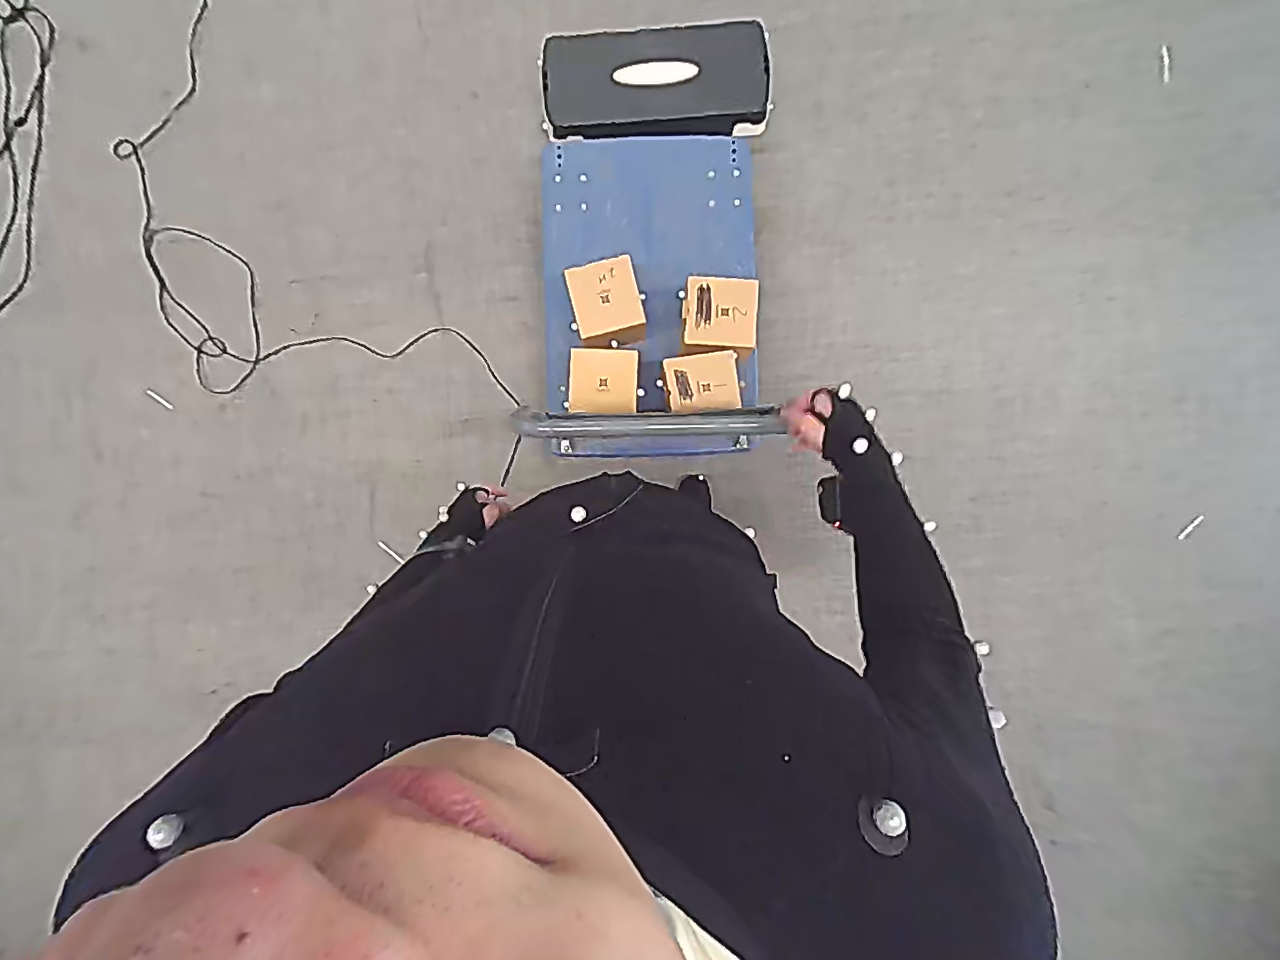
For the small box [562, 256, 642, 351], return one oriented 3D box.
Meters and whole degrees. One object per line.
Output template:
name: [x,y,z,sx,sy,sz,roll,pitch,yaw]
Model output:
small box: [-0.091,-0.442,1.387,0.168,0.176,0.179,-14,90,-1]
